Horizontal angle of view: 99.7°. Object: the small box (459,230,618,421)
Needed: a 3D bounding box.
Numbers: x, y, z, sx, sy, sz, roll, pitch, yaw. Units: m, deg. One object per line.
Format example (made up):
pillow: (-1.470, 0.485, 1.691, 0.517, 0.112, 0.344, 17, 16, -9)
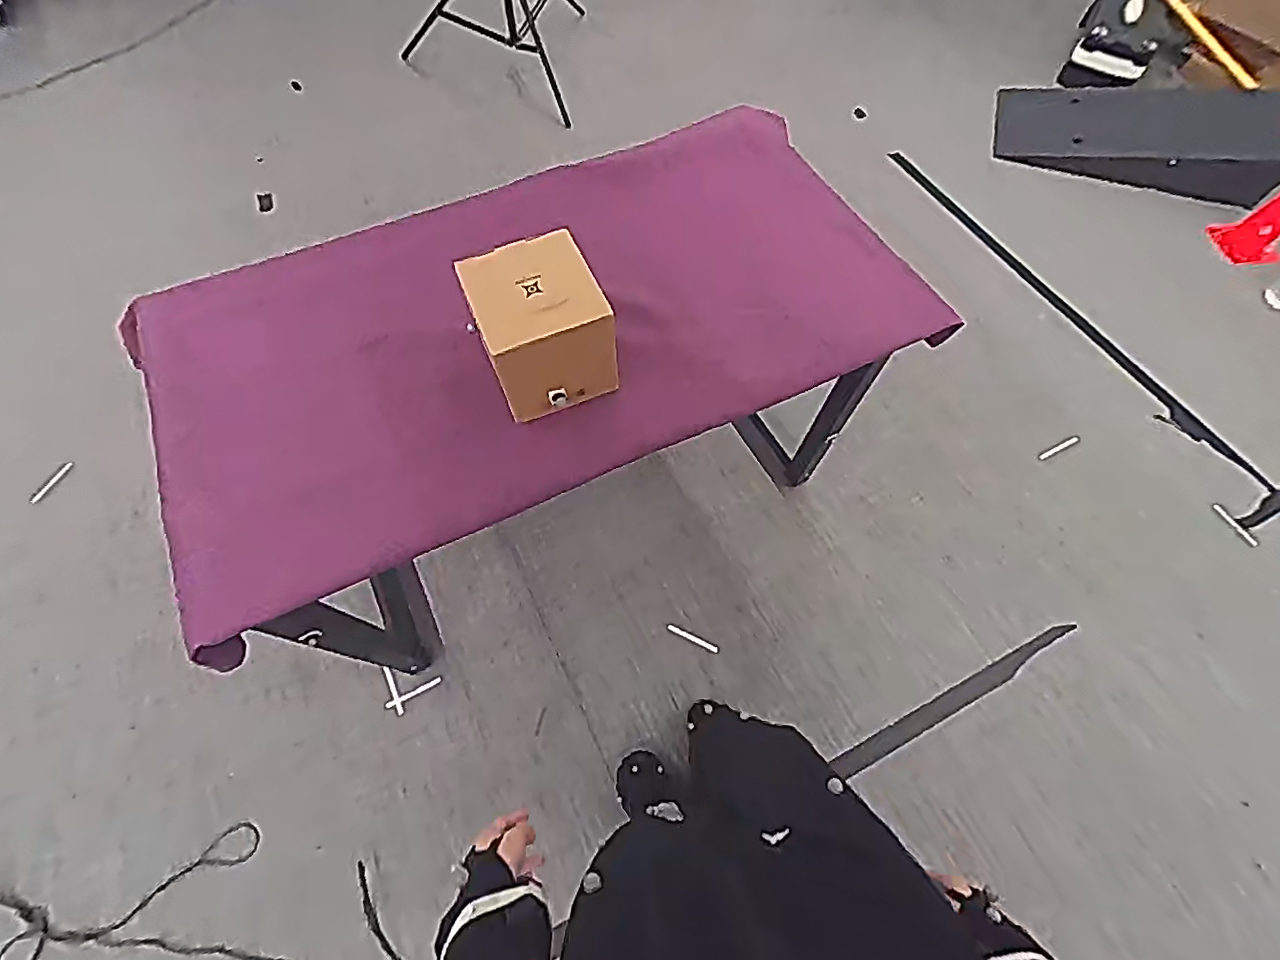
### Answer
small box: (-0.139, -0.217, 0.783, 0.168, 0.176, 0.179, -22, 67, -10)
